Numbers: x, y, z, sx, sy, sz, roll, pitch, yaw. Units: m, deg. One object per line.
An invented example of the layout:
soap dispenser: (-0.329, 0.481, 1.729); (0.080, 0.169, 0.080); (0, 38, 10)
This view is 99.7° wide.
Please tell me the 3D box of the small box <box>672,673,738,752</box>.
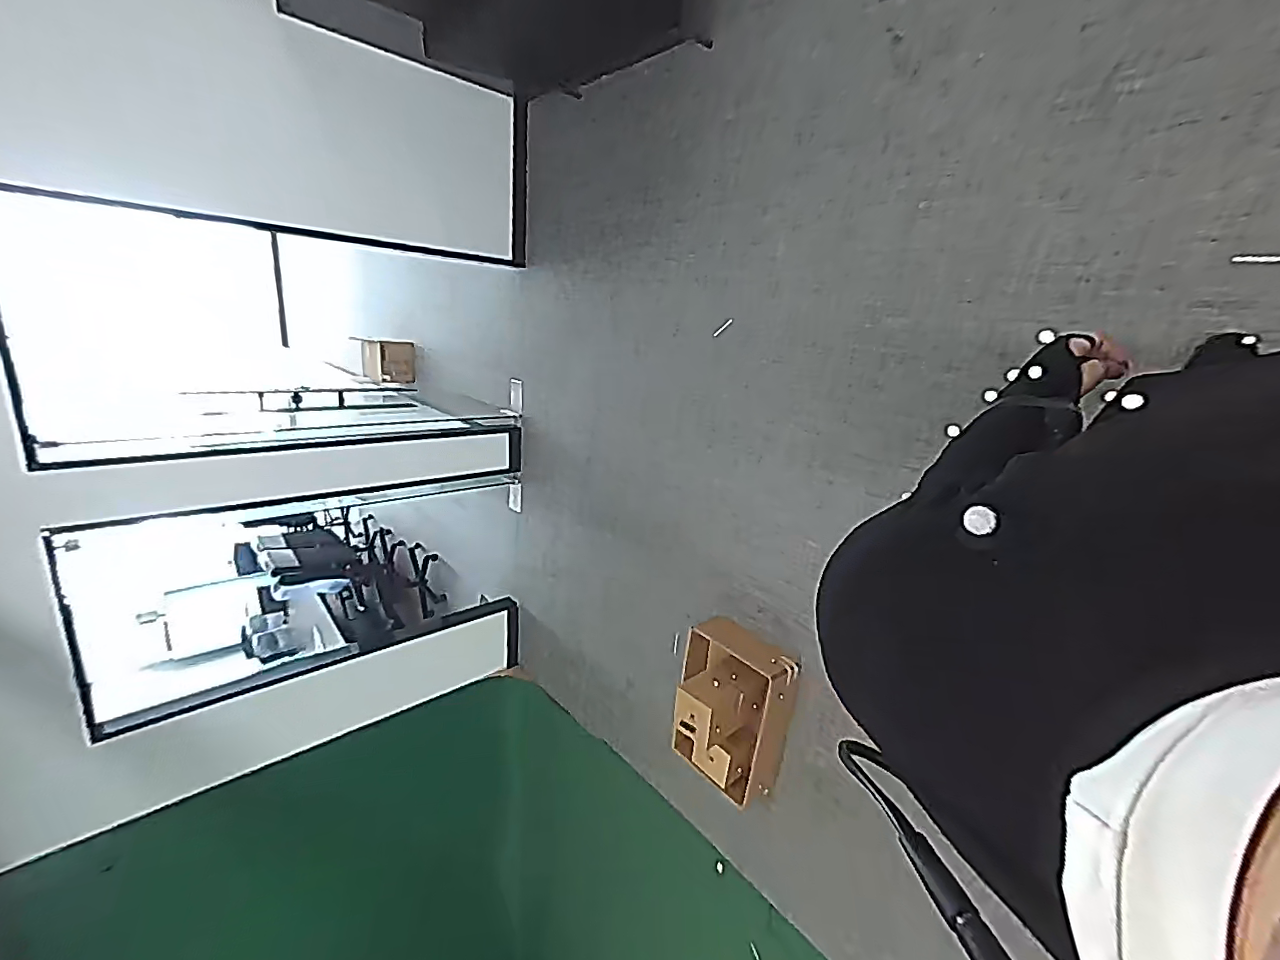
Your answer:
small box: (0.238, 0.841, 1.971); (0.168, 0.176, 0.179); (20, 111, 44)

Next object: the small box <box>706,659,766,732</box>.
small box: (0.359, 0.819, 2.080); (0.179, 0.176, 0.168); (26, 116, 42)
